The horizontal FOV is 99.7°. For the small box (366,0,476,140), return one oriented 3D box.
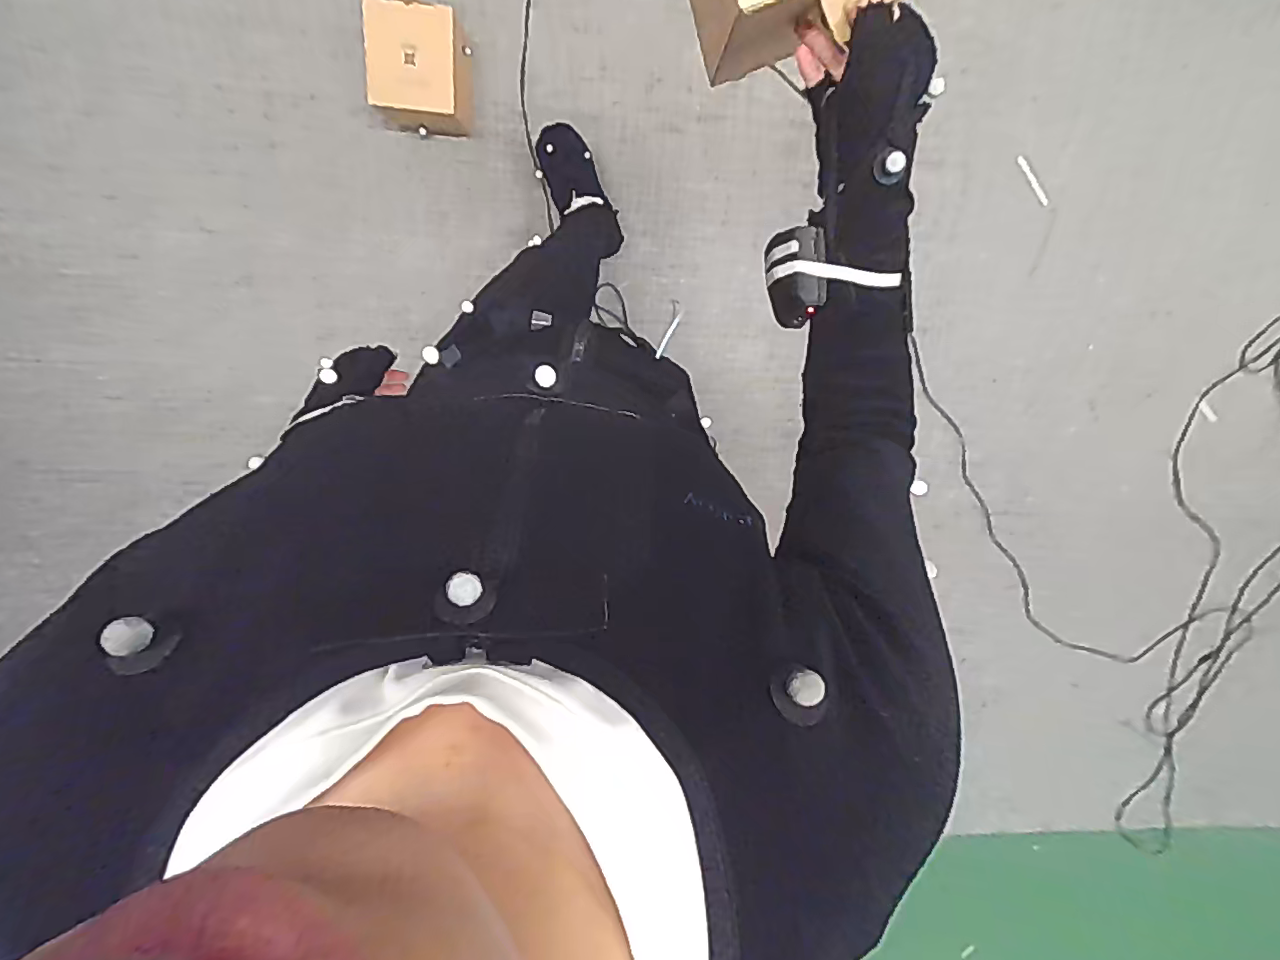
[{"bbox_3d":[-0.437,-0.822,1.100,0.168,0.176,0.179,5,109,-5],"label":"small box"}]

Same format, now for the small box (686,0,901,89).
[{"bbox_3d":[0.115,-0.442,0.408,0.168,0.176,0.179,-17,111,7],"label":"small box"}]
